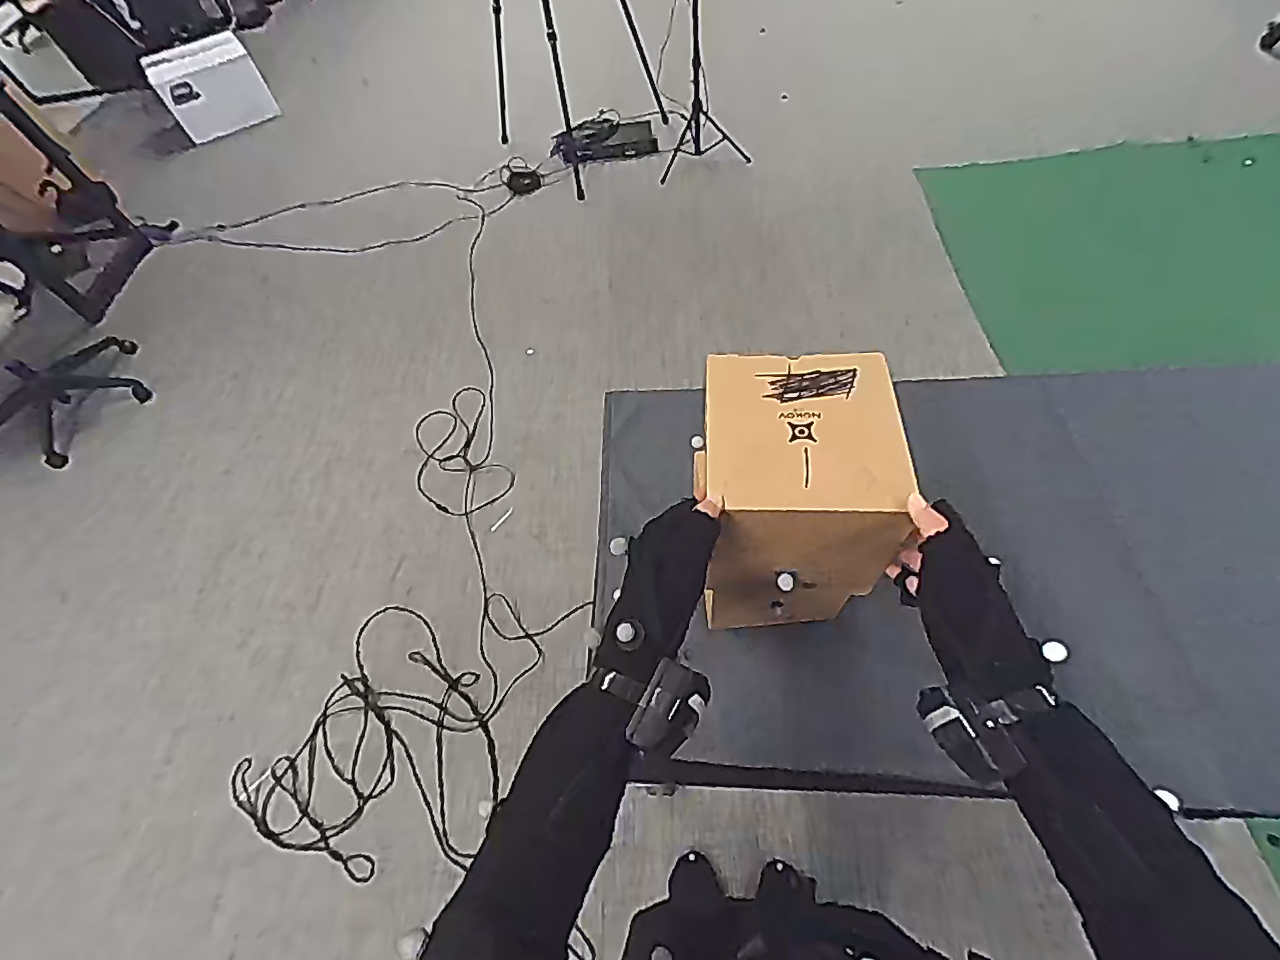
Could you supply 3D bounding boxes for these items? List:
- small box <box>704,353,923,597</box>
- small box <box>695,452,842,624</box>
[{"bbox_3d":[0.147,-0.003,0.530,0.168,0.176,0.179,0,56,7],"label":"small box"},{"bbox_3d":[0.161,0.075,0.685,0.168,0.176,0.179,-6,56,2],"label":"small box"}]
